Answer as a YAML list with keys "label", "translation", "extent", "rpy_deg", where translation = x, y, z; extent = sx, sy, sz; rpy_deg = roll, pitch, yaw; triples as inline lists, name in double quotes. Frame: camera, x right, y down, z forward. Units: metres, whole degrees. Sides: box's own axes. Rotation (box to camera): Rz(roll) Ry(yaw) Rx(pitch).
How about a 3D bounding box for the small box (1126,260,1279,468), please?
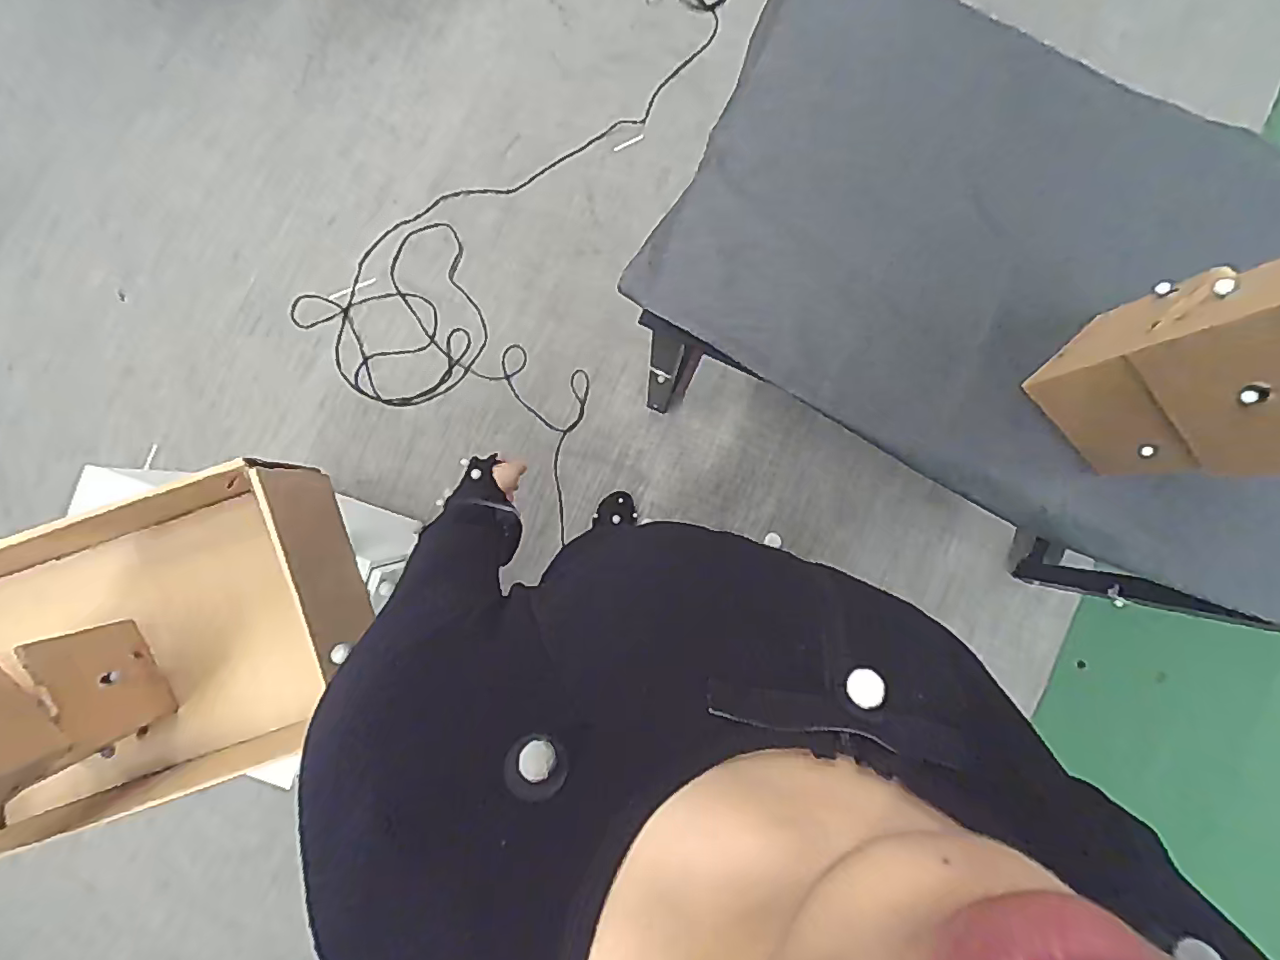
- label: "small box"
  translation: [0.659, -0.123, 0.534]
  extent: [0.168, 0.176, 0.179]
  rpy_deg: [-34, 87, -3]

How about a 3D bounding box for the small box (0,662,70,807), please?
- label: "small box"
  translation: [-0.832, 0.318, 0.603]
  extent: [0.168, 0.176, 0.179]
  rpy_deg: [-44, 91, -2]
